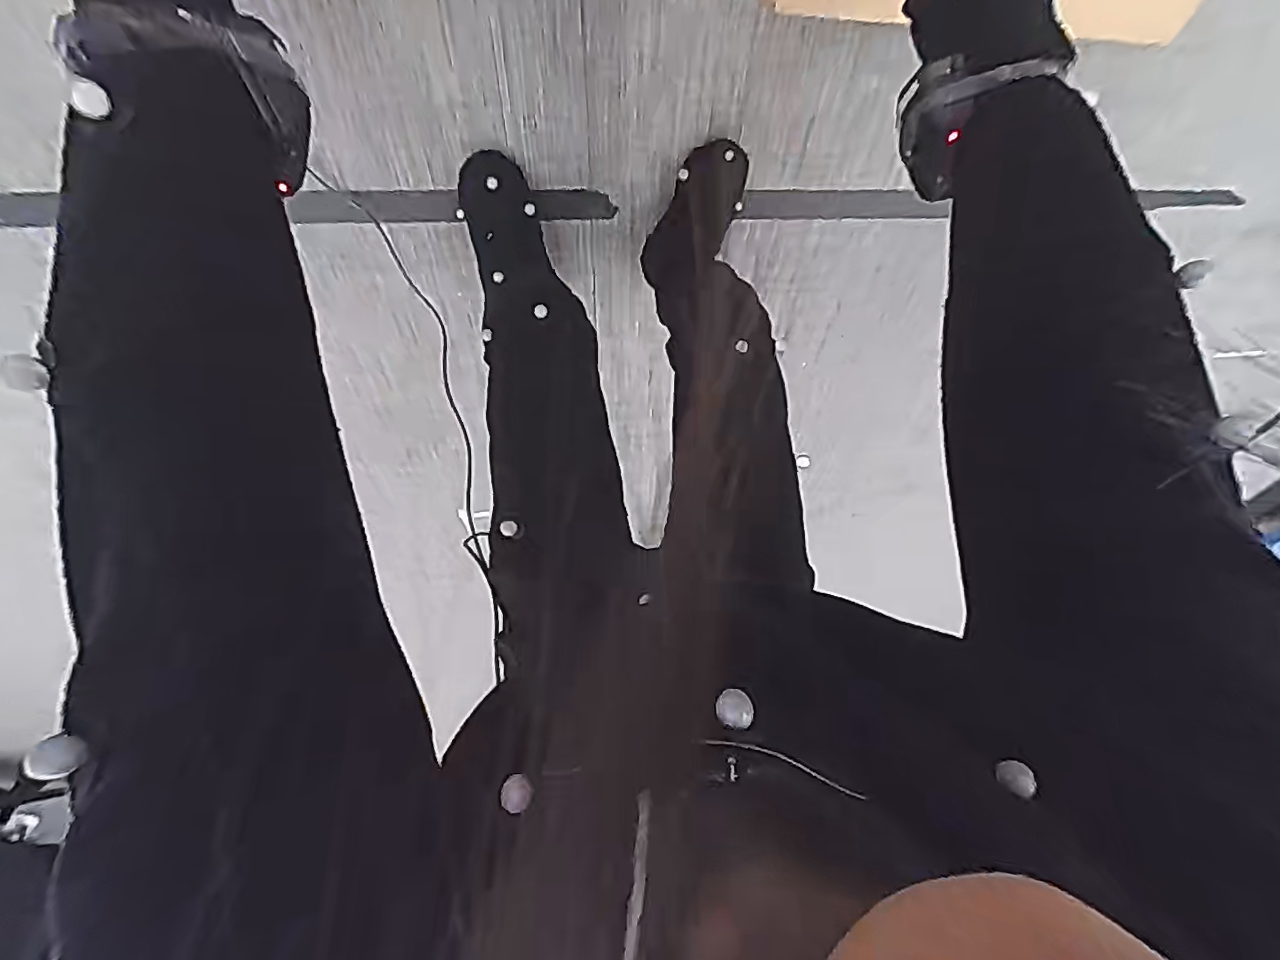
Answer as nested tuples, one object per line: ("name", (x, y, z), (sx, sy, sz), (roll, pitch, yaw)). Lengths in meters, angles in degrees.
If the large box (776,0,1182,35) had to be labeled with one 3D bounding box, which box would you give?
("large box", (0.306, -0.636, 0.475), (0.408, 0.320, 0.320), (-3, 143, -9))
